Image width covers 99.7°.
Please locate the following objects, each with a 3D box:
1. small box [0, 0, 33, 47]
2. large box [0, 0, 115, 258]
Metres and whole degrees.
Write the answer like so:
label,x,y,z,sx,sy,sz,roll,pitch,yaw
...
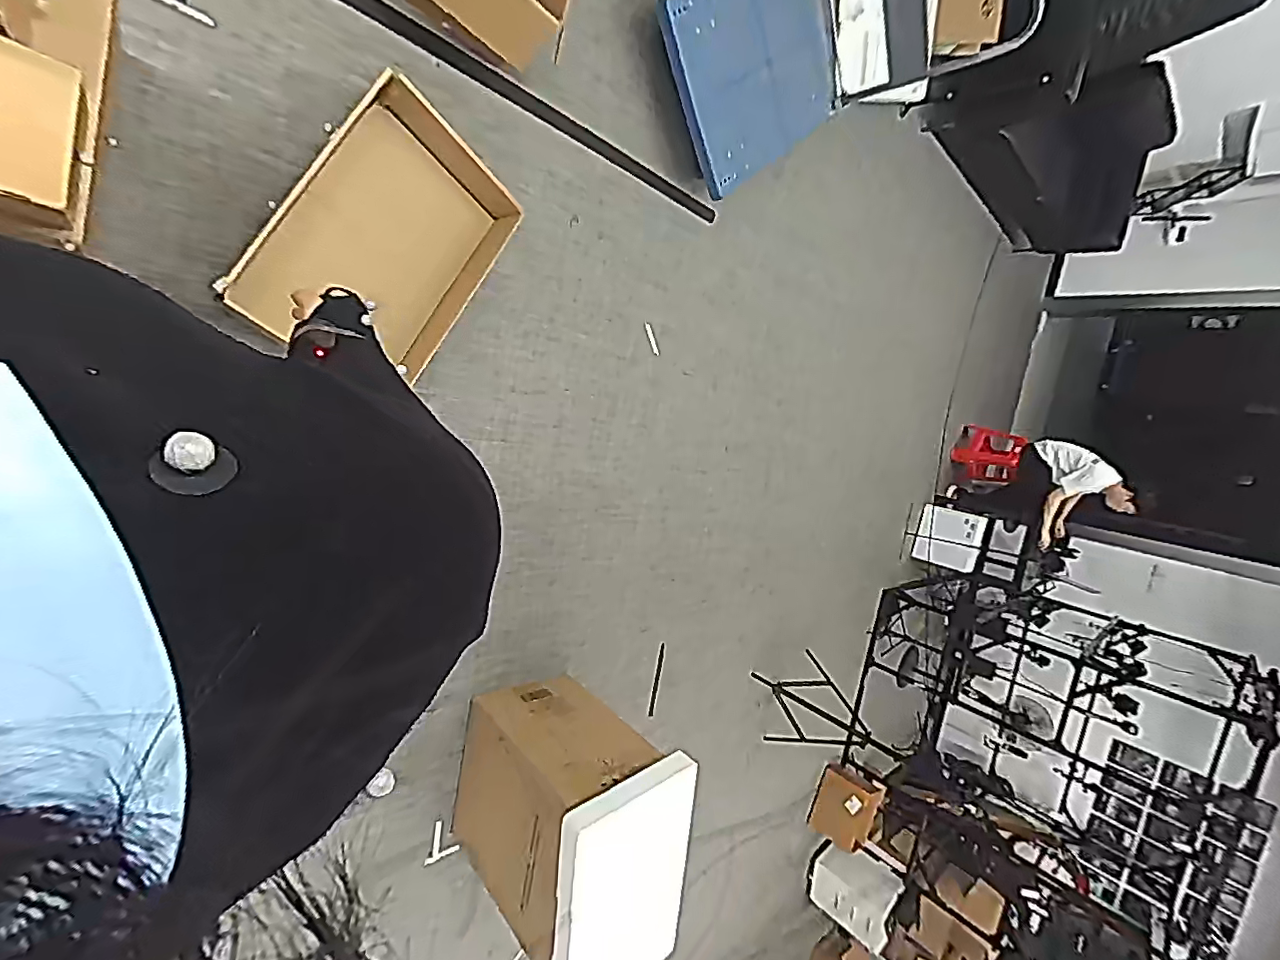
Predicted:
label,x,y,z,sx,sy,sz,roll,pitch,yaw
small box,-0.824,-0.644,0.610,0.179,0.176,0.168,12,96,-45
large box,-1.008,-0.592,0.798,0.320,0.320,0.408,7,98,-43
